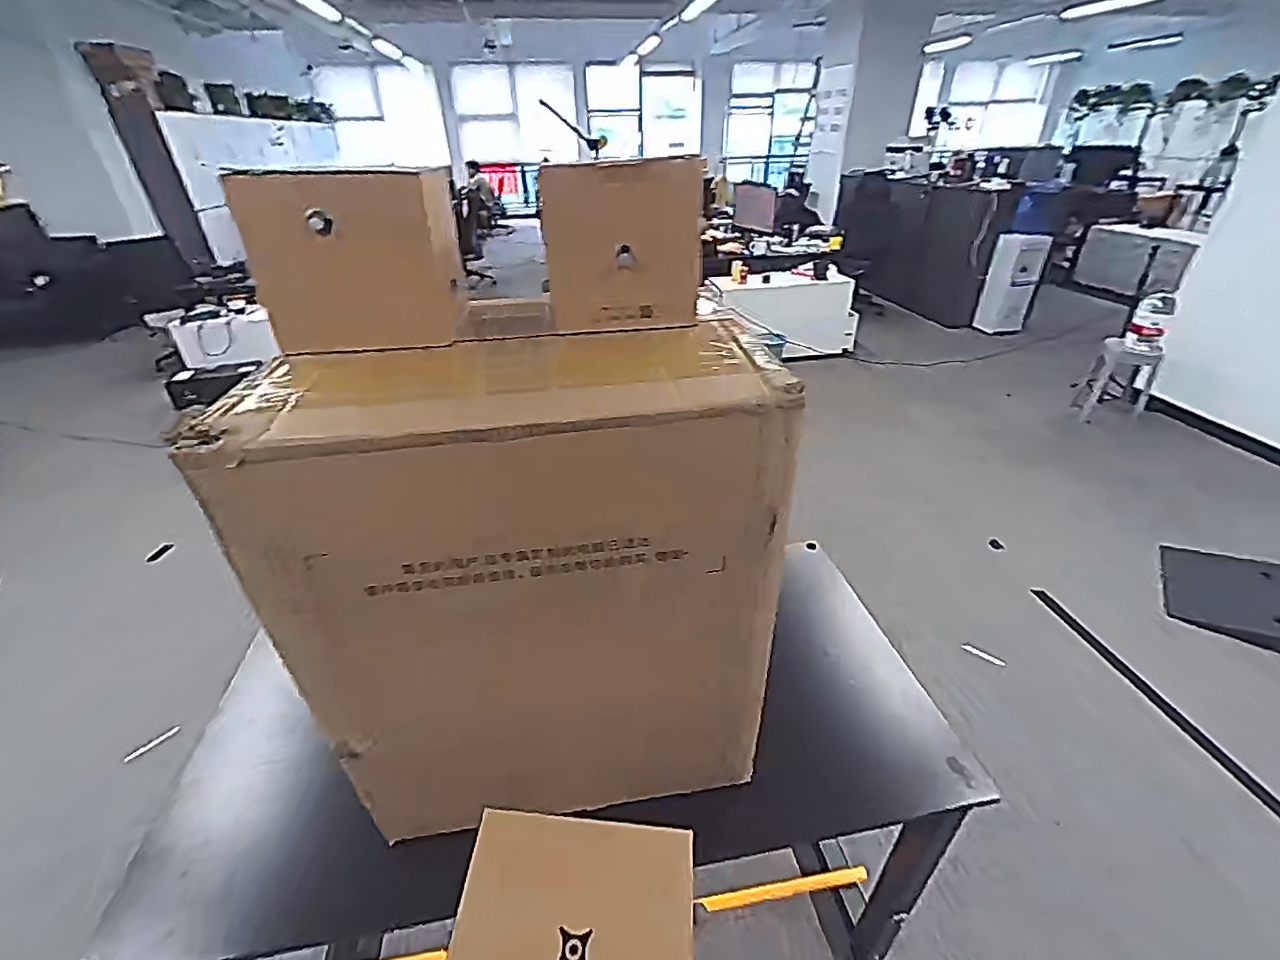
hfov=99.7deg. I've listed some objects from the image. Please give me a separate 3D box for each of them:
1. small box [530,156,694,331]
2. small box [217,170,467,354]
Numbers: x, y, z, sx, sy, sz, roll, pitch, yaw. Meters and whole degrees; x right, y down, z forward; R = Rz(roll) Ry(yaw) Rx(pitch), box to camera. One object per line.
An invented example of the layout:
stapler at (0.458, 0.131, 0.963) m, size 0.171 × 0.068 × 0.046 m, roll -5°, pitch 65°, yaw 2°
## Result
small box at (-0.029, -0.279, 0.640) m, size 0.168 × 0.176 × 0.179 m, roll -5°, pitch 31°, yaw -3°
small box at (-0.303, -0.244, 0.598) m, size 0.179 × 0.176 × 0.168 m, roll -5°, pitch 31°, yaw -8°
